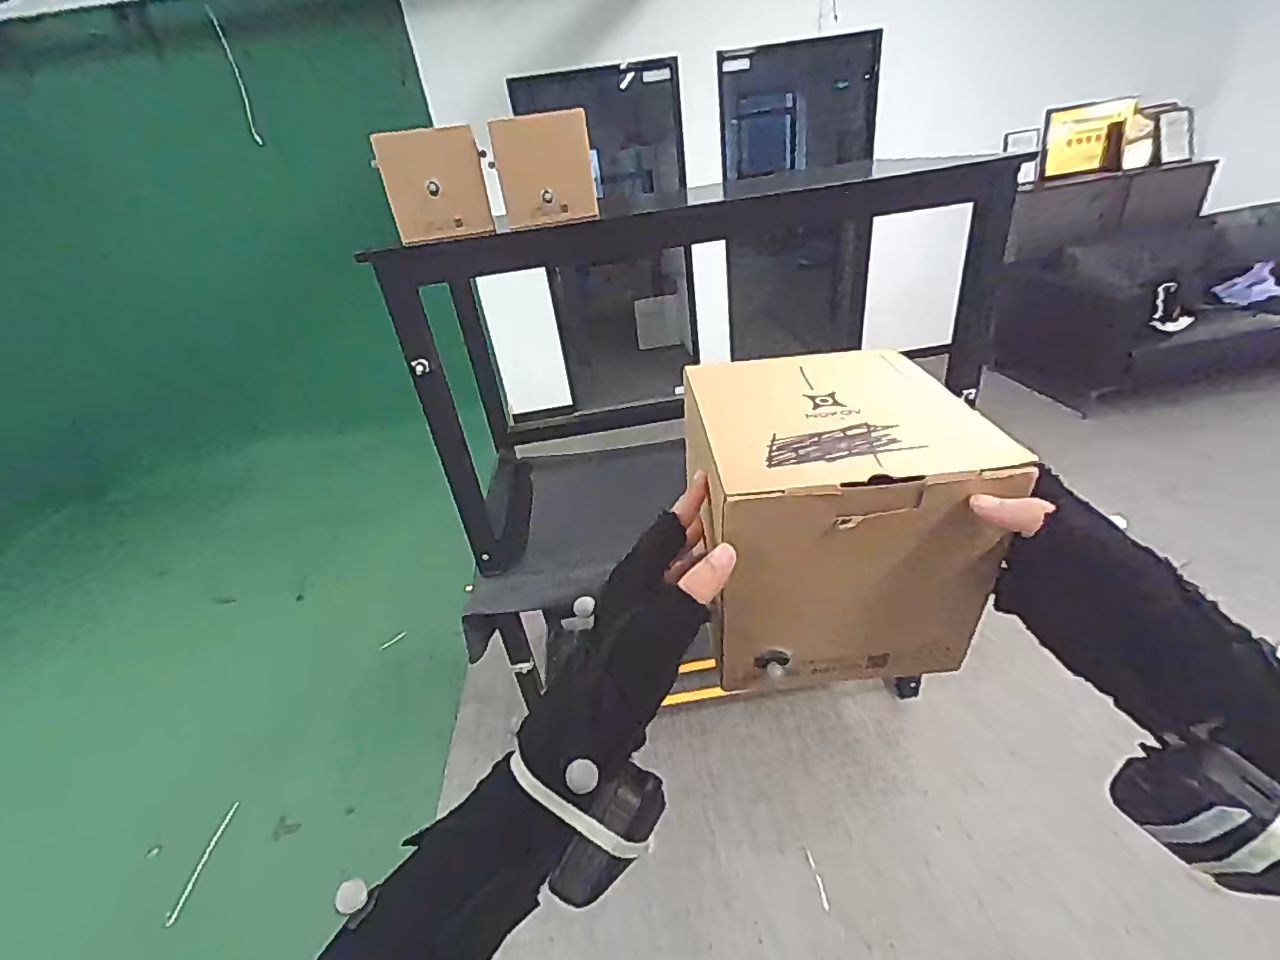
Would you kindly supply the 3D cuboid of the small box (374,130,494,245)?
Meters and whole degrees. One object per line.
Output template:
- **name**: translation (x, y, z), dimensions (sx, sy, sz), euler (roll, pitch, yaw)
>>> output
- **small box**: translation (-0.376, -0.547, 1.024), dimensions (0.168, 0.176, 0.179), euler (-12, 29, -9)

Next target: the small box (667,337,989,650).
- **small box**: translation (0.113, 0.009, 0.404), dimensions (0.168, 0.176, 0.179), euler (-5, 33, 0)
